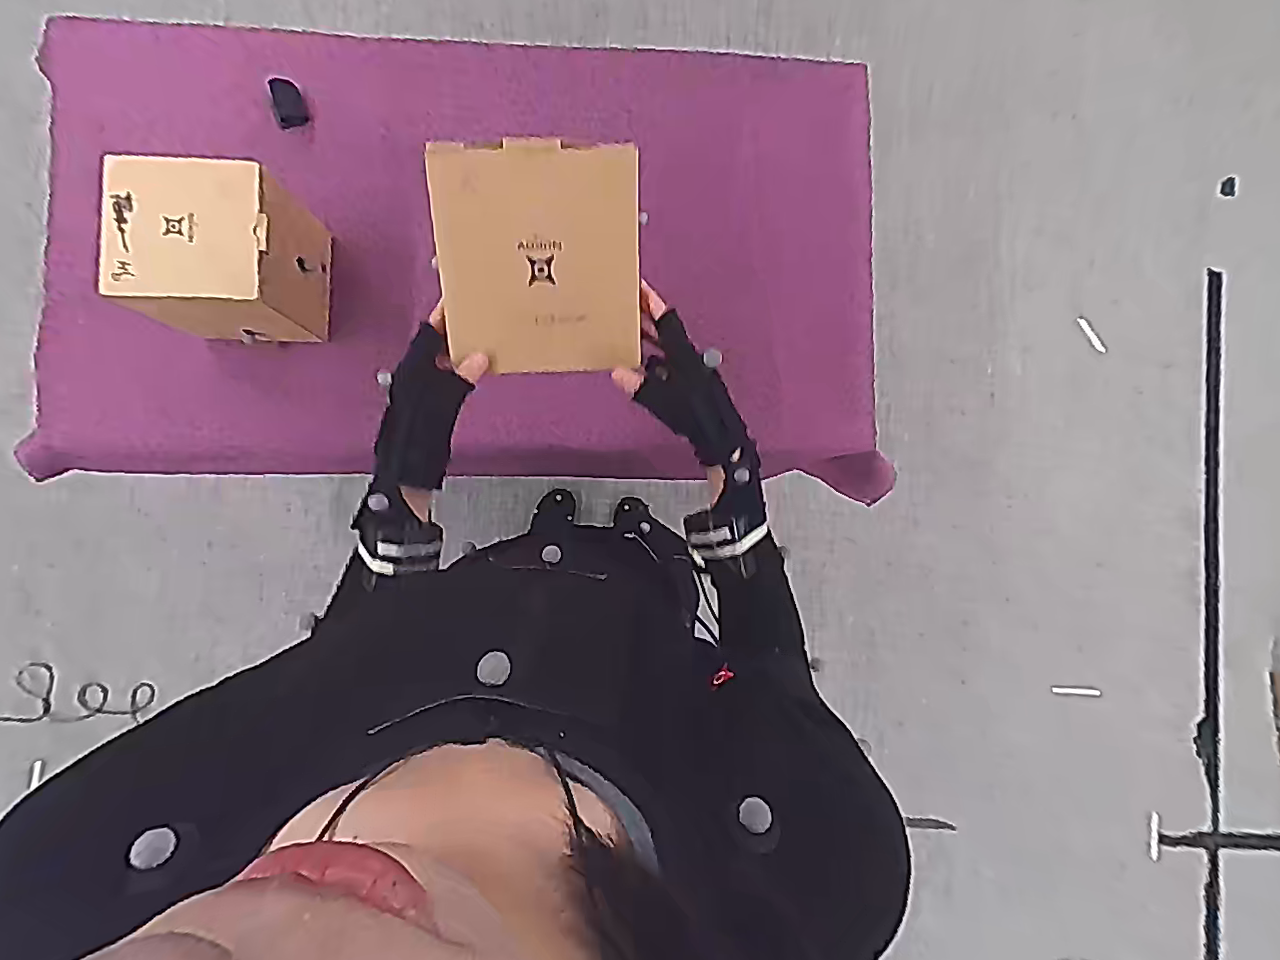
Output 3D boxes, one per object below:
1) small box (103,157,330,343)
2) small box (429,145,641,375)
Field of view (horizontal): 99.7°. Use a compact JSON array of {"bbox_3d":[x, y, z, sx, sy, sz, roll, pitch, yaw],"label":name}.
[{"bbox_3d":[-0.529,-0.283,0.703,0.179,0.176,0.168,0,87,-5],"label":"small box"},{"bbox_3d":[-0.090,-0.199,0.520,0.168,0.176,0.179,-3,109,-5],"label":"small box"}]
